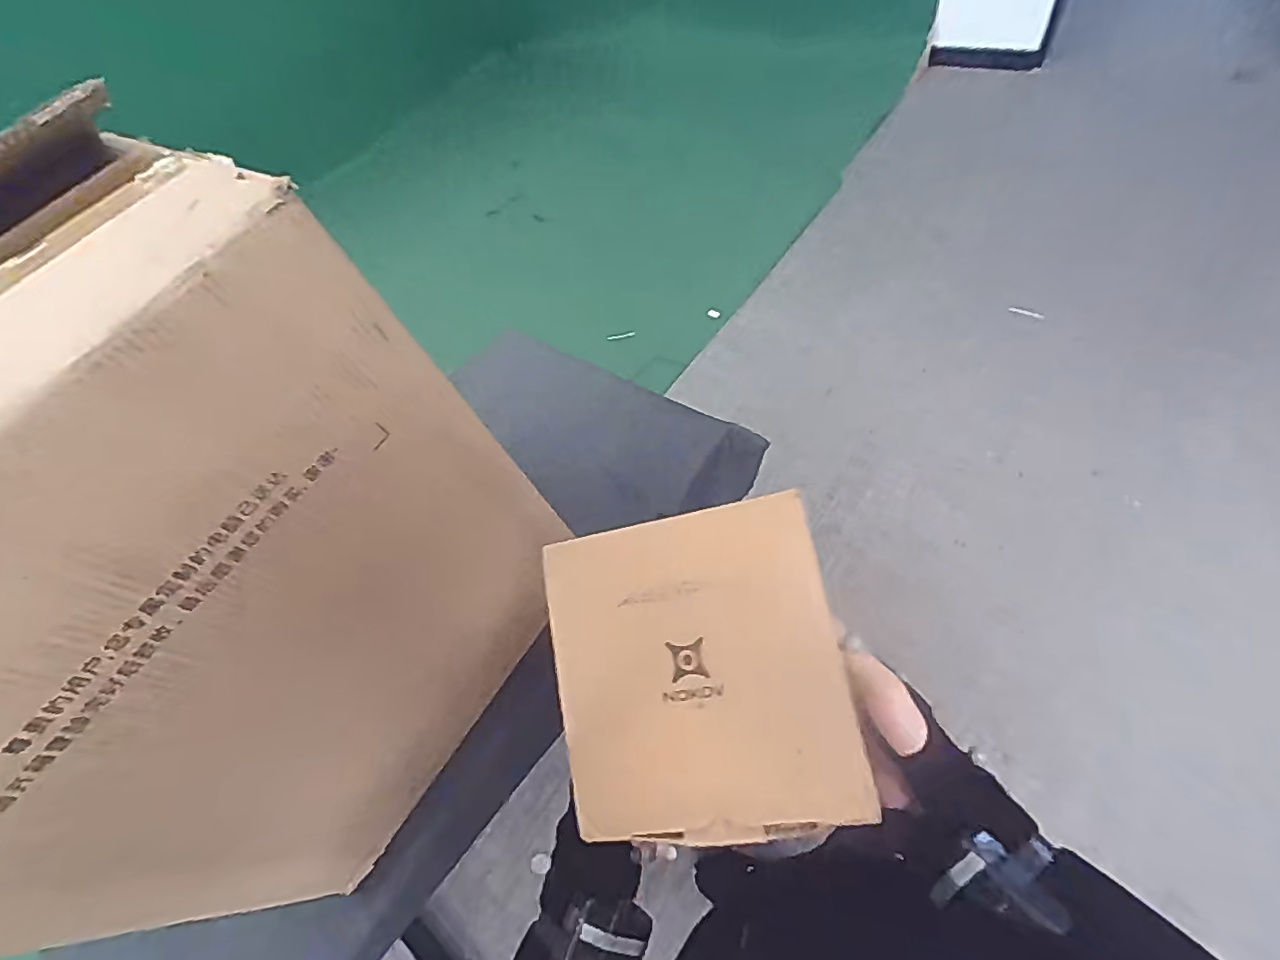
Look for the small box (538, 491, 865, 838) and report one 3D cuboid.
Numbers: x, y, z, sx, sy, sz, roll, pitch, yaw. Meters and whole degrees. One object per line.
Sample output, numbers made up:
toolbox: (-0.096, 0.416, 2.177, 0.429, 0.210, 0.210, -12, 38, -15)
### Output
small box: (0.049, 0.120, 0.387, 0.168, 0.176, 0.179, -15, 76, 14)
